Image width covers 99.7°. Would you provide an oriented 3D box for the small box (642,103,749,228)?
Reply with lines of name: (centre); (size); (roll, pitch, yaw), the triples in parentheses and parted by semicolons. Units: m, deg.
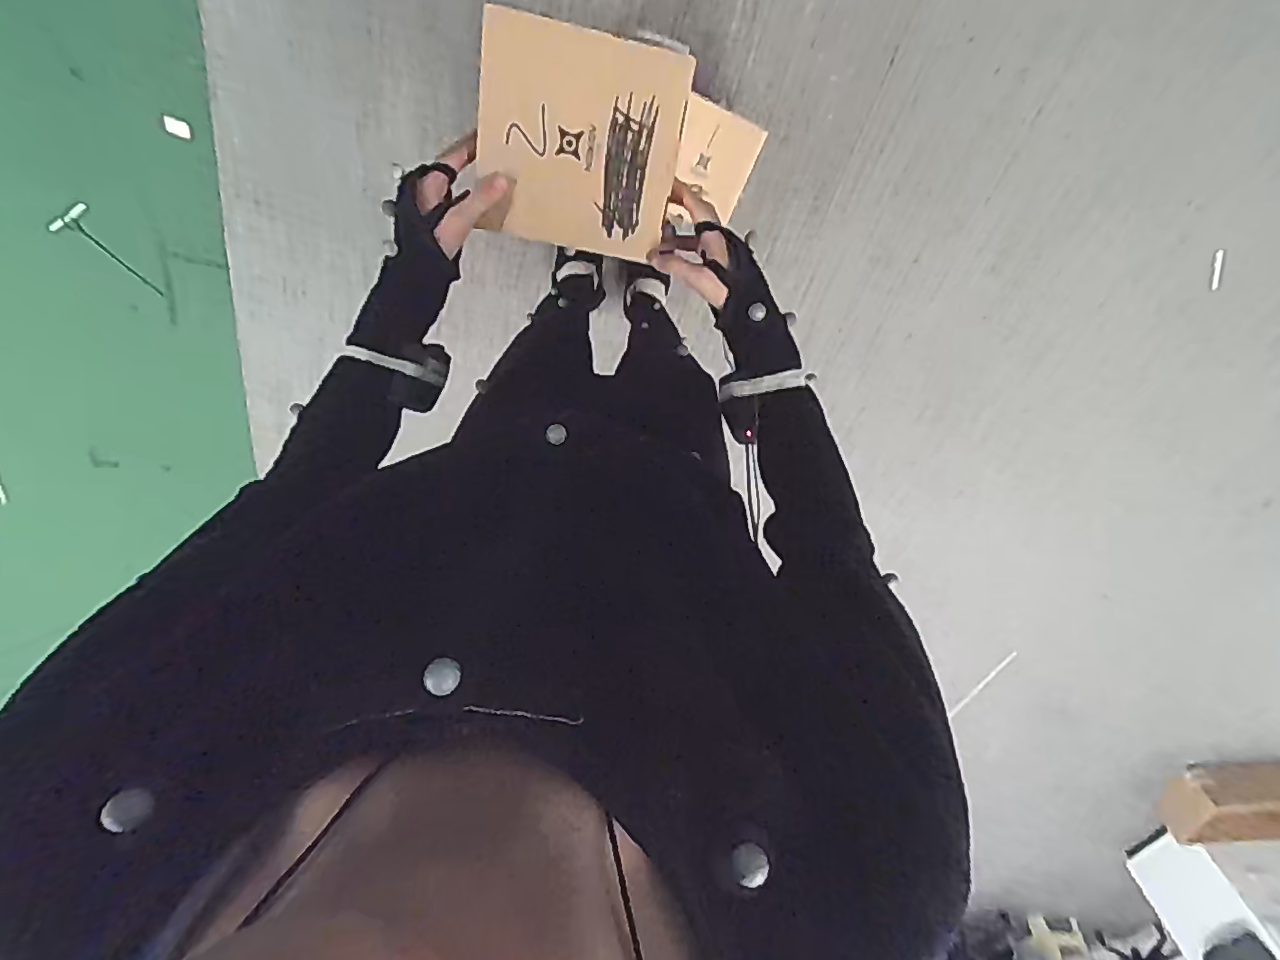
small box: (0.103, -0.650, 1.113); (0.168, 0.176, 0.179); (14, 124, -9)
